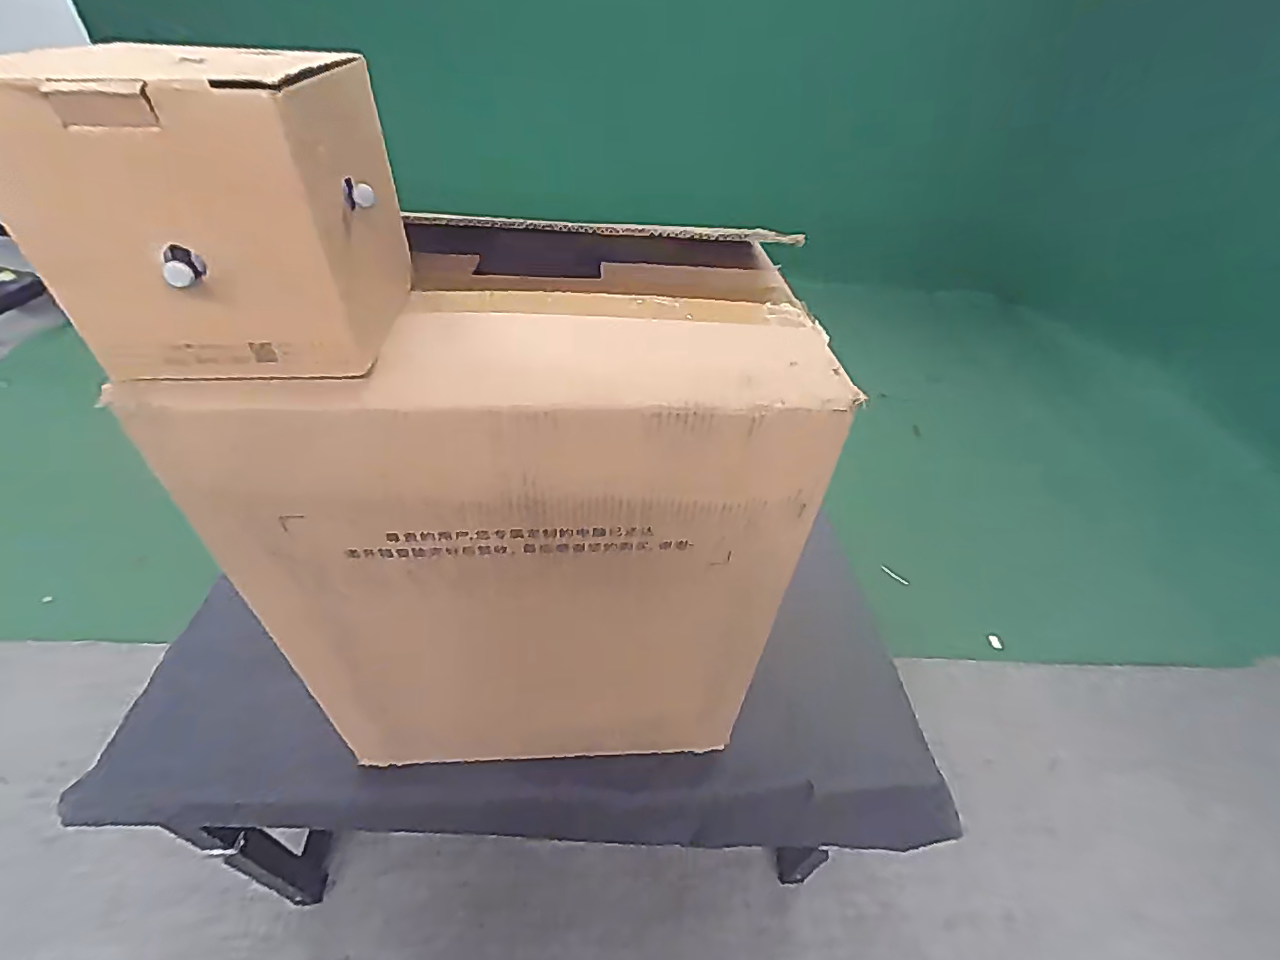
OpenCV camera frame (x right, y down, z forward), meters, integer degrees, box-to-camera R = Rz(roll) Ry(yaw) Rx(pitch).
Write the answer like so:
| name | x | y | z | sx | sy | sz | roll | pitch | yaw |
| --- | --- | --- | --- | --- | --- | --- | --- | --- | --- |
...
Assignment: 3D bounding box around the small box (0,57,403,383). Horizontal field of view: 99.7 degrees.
| name | x | y | z | sx | sy | sz | roll | pitch | yaw |
| --- | --- | --- | --- | --- | --- | --- | --- | --- | --- |
| small box | -0.284 | -0.179 | 0.377 | 0.168 | 0.176 | 0.179 | -3 | 43 | -5 |
